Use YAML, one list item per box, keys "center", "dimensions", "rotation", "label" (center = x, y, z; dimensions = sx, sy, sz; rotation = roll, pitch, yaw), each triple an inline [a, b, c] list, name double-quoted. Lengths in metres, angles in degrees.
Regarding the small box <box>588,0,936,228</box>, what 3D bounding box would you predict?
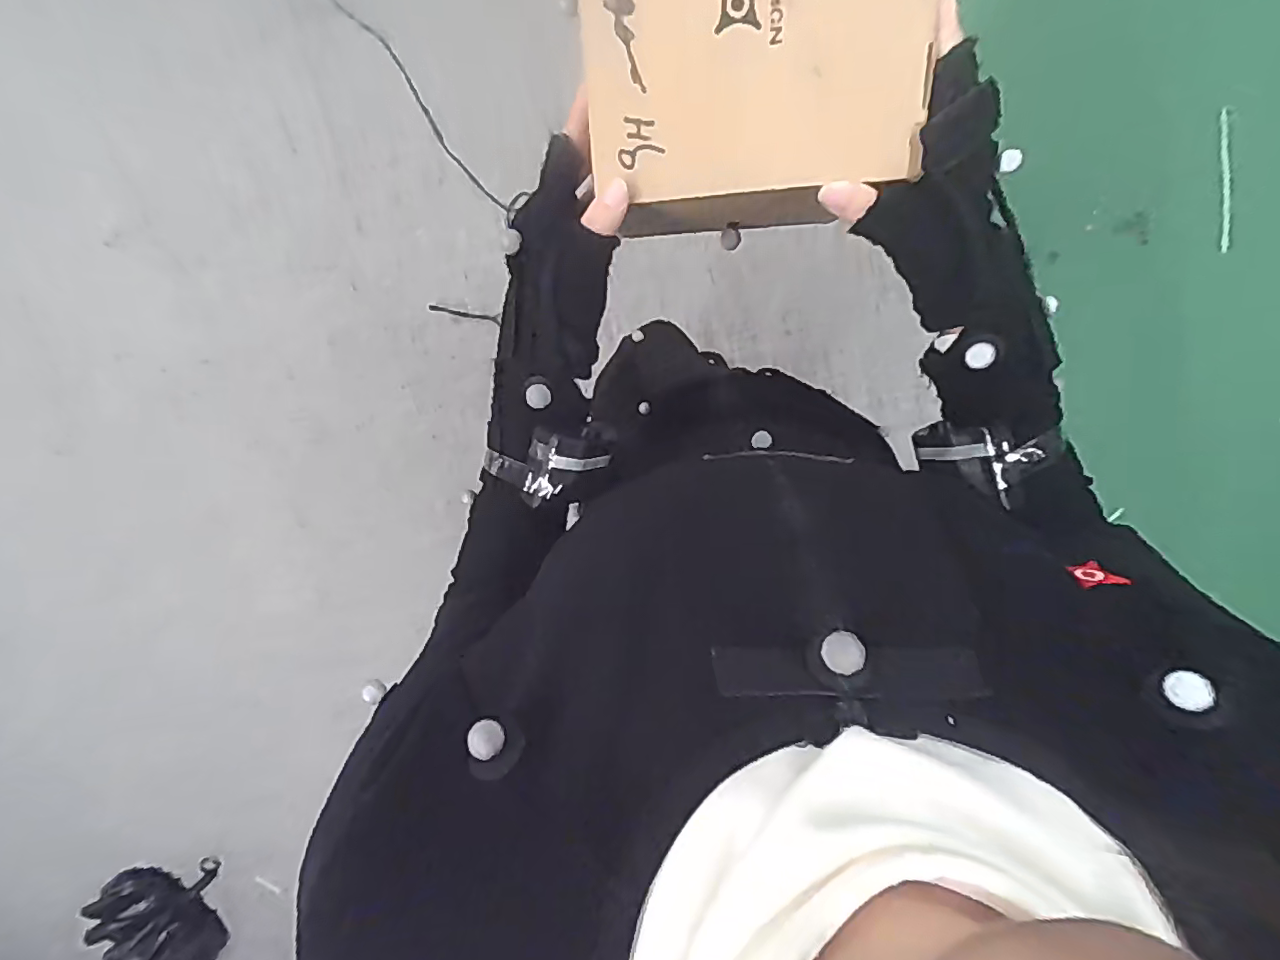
- center: [0.062, -0.265, 0.344]
  dimensions: [0.179, 0.176, 0.168]
  rotation: [-4, 107, 3]
  label: "small box"
